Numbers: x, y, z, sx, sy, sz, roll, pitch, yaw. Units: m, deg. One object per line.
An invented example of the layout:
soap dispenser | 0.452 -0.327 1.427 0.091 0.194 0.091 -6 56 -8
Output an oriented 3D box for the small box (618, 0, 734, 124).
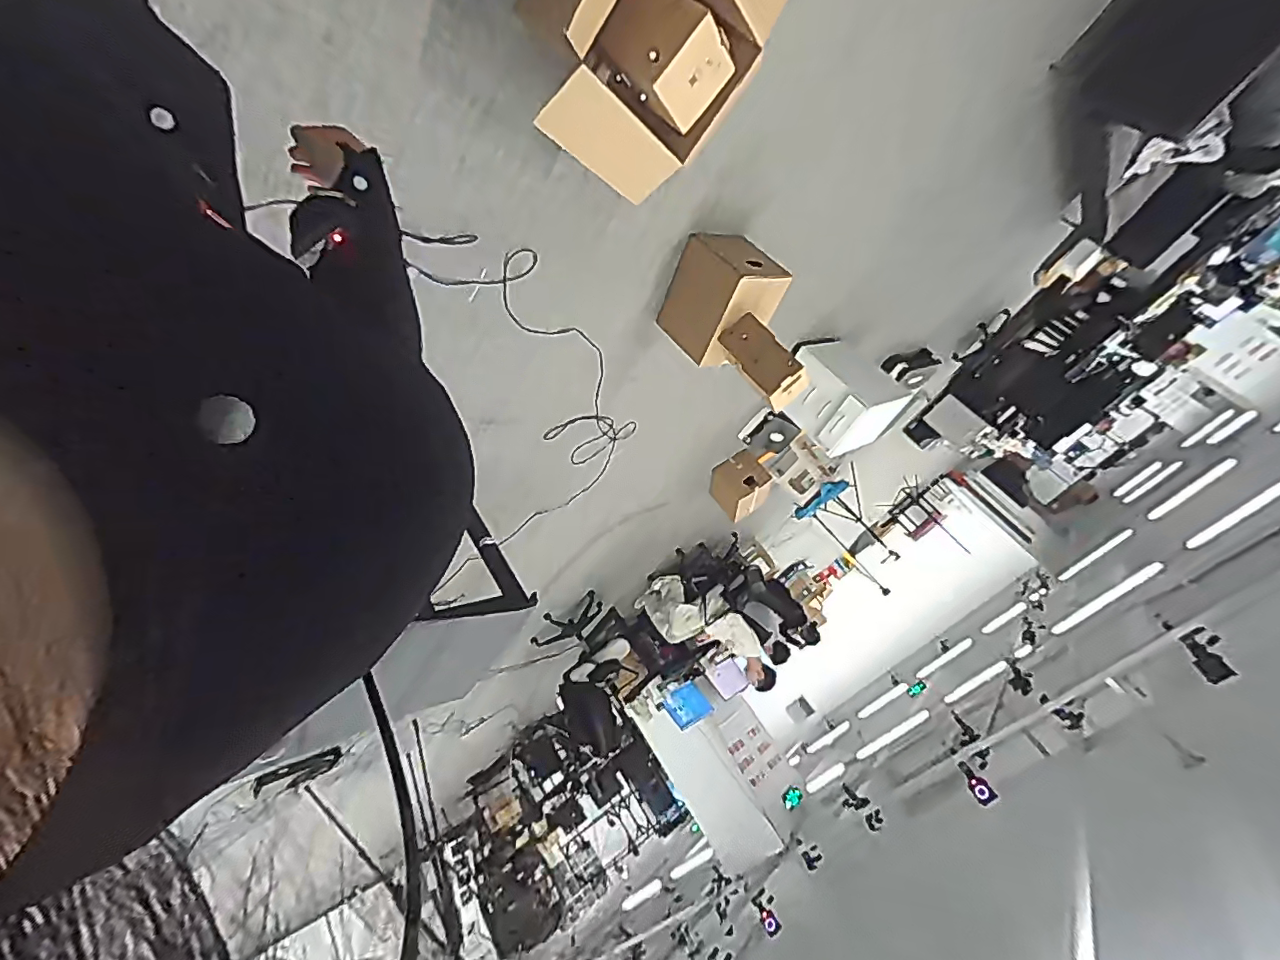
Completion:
small box | 0.075 -0.965 1.214 0.179 0.176 0.168 -46 158 18

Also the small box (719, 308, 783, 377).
small box | 0.434 -0.548 2.128 0.168 0.176 0.179 -41 153 8
